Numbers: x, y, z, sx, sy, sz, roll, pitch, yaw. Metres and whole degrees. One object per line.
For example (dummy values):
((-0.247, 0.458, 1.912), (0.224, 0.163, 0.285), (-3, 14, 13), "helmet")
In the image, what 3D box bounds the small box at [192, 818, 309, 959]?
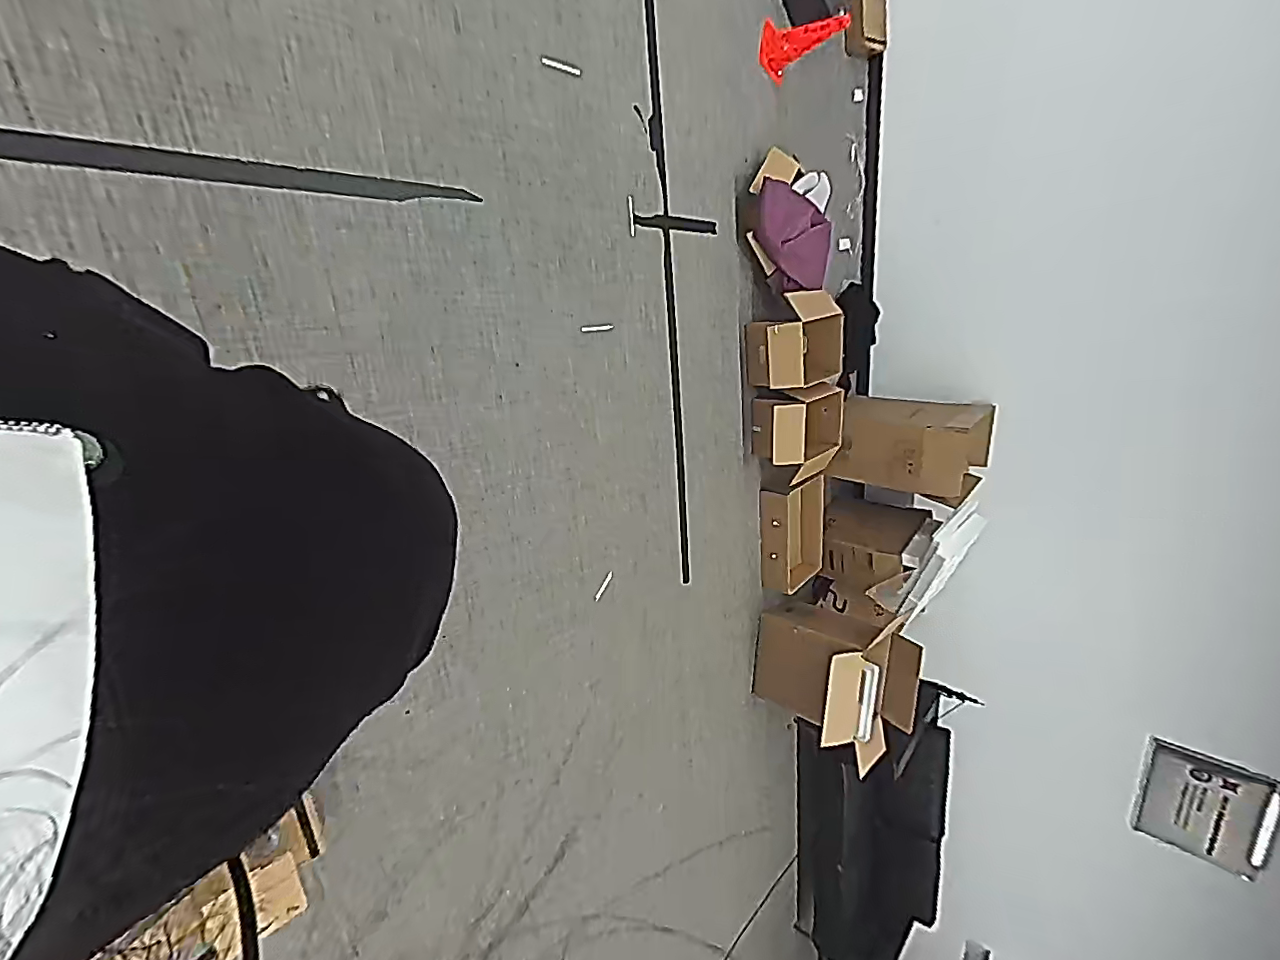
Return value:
((-0.891, 0.918, 1.236), (0.168, 0.176, 0.179), (-20, 112, -43), "small box")
